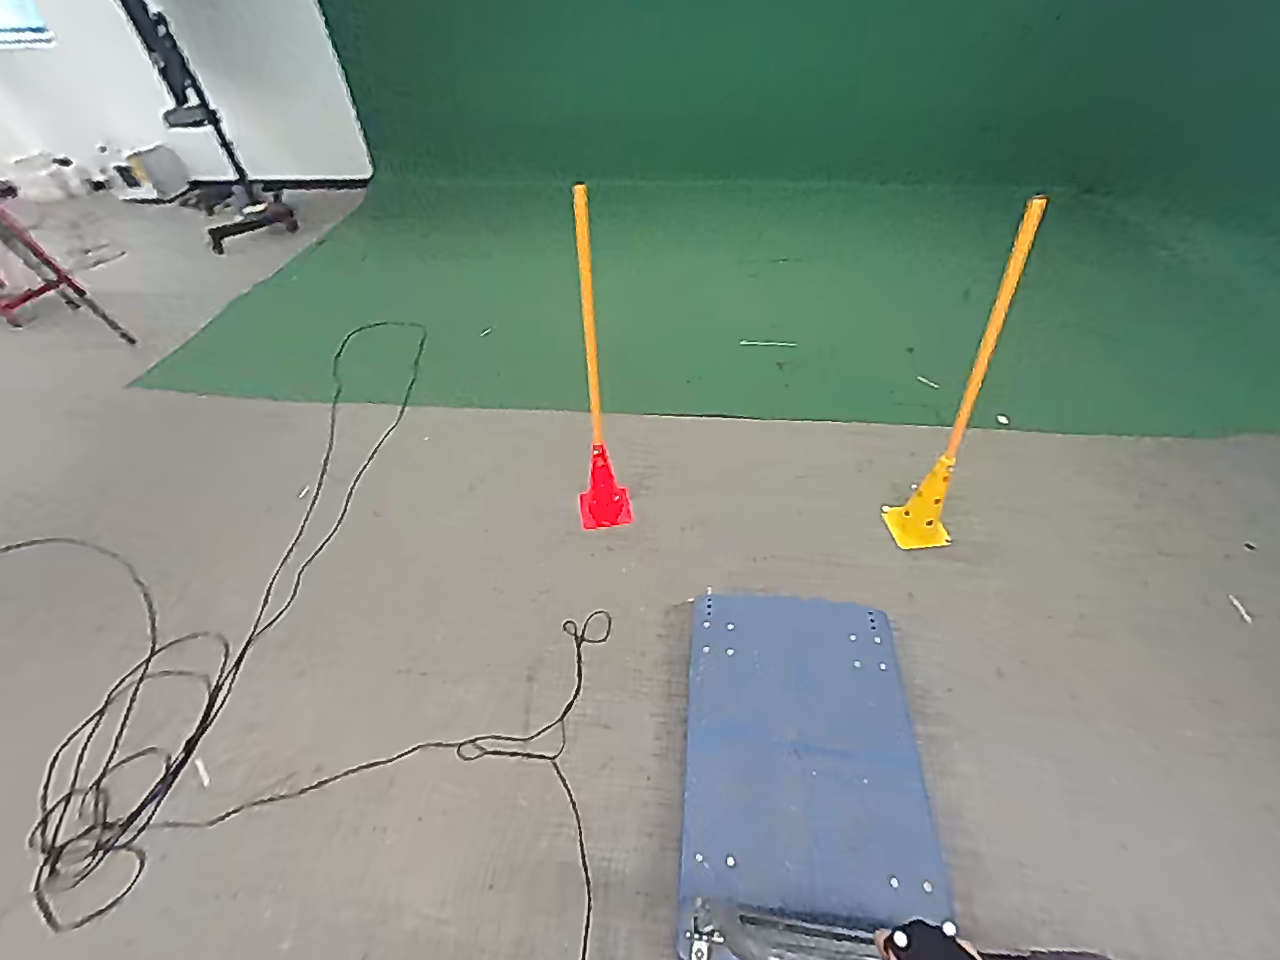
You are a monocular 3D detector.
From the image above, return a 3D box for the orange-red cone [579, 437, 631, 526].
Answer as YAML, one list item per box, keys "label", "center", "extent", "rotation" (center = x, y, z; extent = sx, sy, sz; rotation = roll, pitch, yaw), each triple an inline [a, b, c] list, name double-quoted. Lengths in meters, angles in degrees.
- label: "orange-red cone"
  center: [-0.150, -0.017, 2.032]
  extent: [0.199, 0.360, 0.198]
  rotation: [-8, 46, -4]
